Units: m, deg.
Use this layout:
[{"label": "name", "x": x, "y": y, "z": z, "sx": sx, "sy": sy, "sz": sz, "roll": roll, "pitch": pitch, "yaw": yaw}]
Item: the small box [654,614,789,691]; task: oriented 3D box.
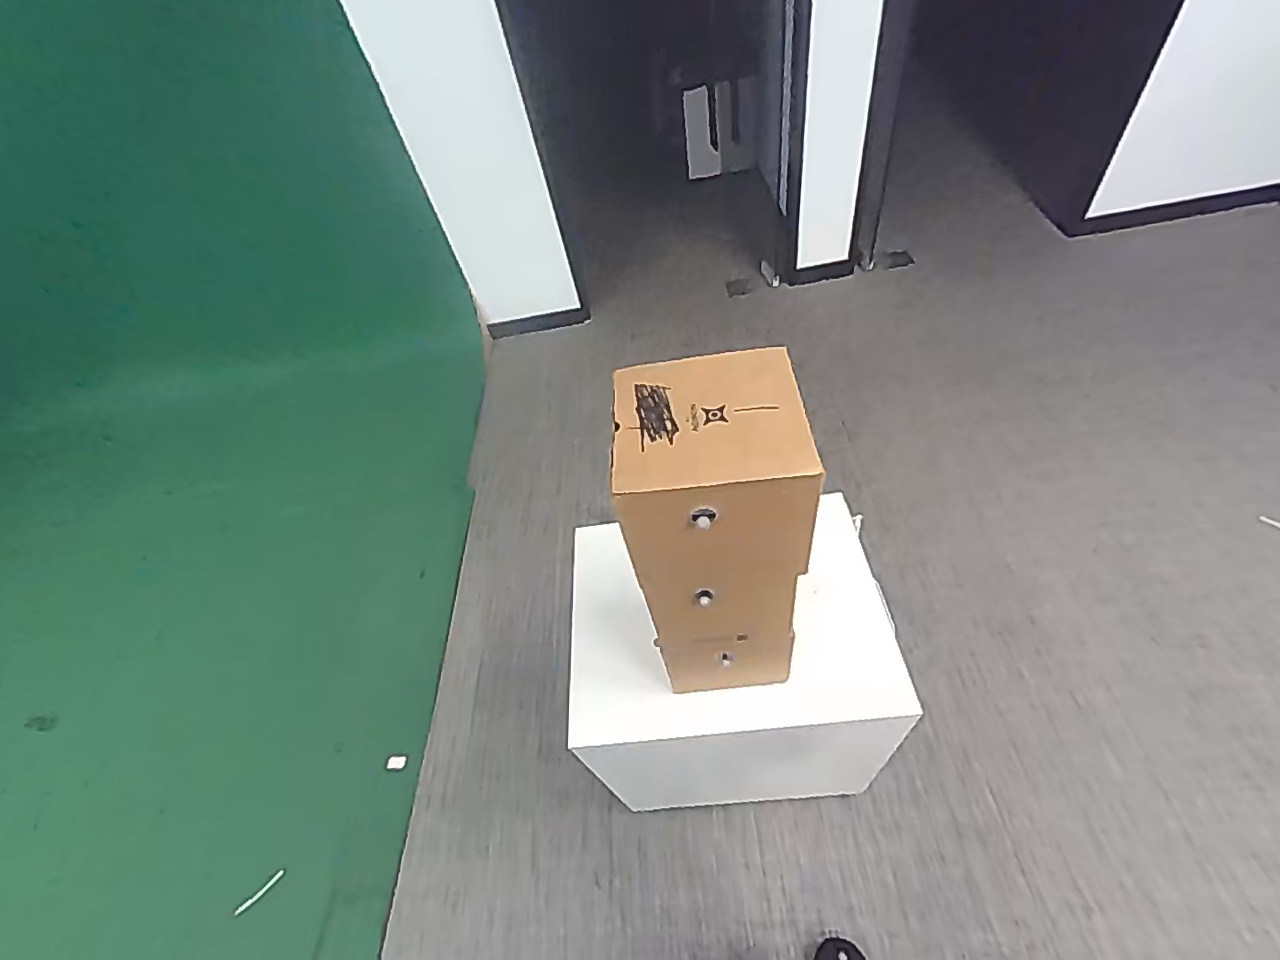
[{"label": "small box", "x": 0.117, "y": 0.203, "z": 0.811, "sx": 0.179, "sy": 0.176, "sz": 0.168, "roll": -8, "pitch": 50, "yaw": 5}]

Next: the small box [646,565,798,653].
[{"label": "small box", "x": 0.093, "y": 0.098, "z": 0.692, "sx": 0.168, "sy": 0.176, "sz": 0.179, "roll": -9, "pitch": 50, "yaw": 4}]

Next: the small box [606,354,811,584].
[{"label": "small box", "x": 0.069, "y": -0.004, "z": 0.562, "sx": 0.179, "sy": 0.176, "sz": 0.168, "roll": -6, "pitch": 50, "yaw": 7}]
